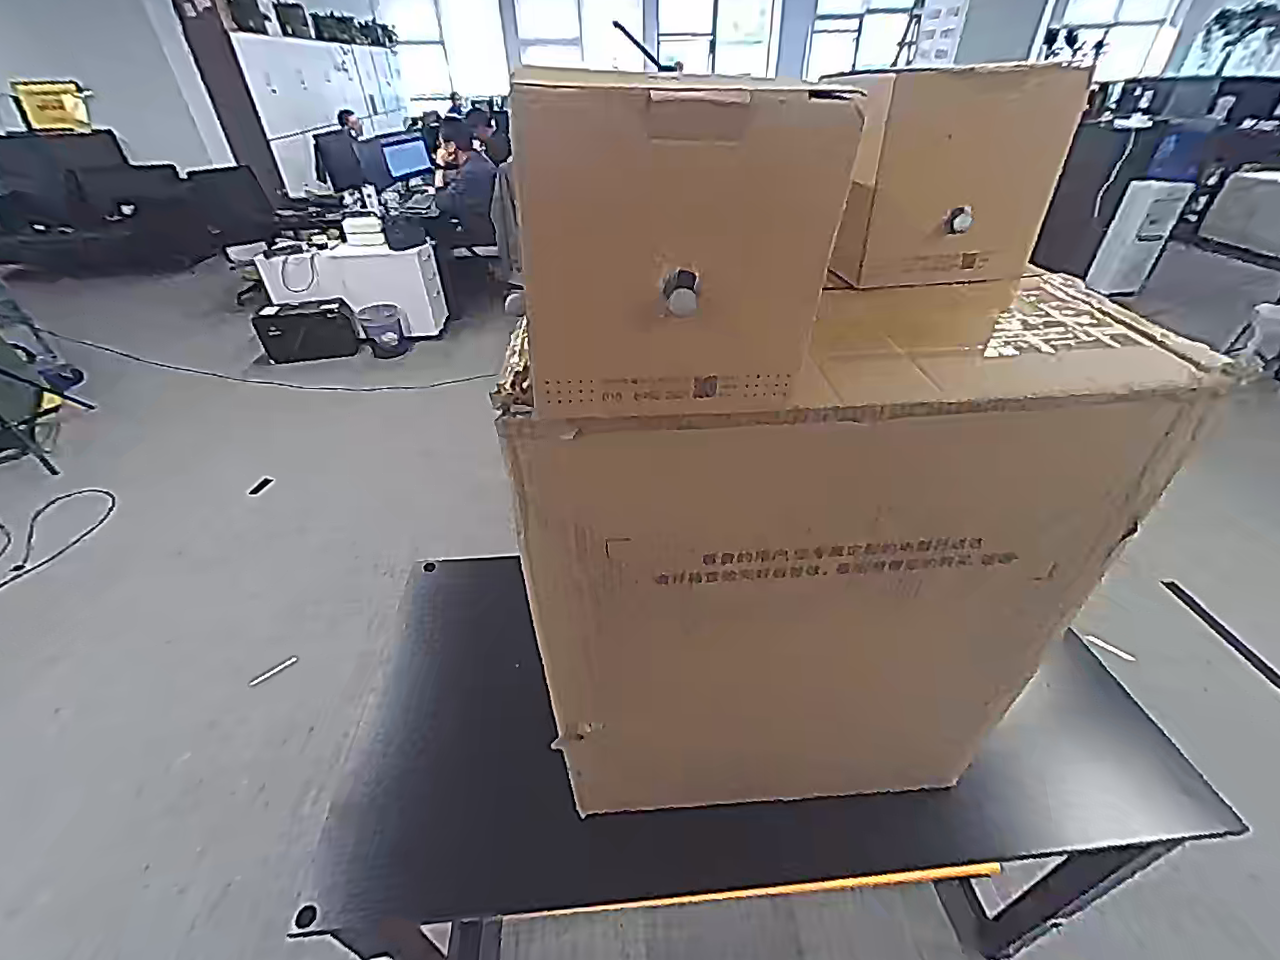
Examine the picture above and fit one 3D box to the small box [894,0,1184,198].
[{"bbox_3d":[0.288,-0.344,0.457,0.168,0.176,0.179,-5,36,-3],"label":"small box"}]
